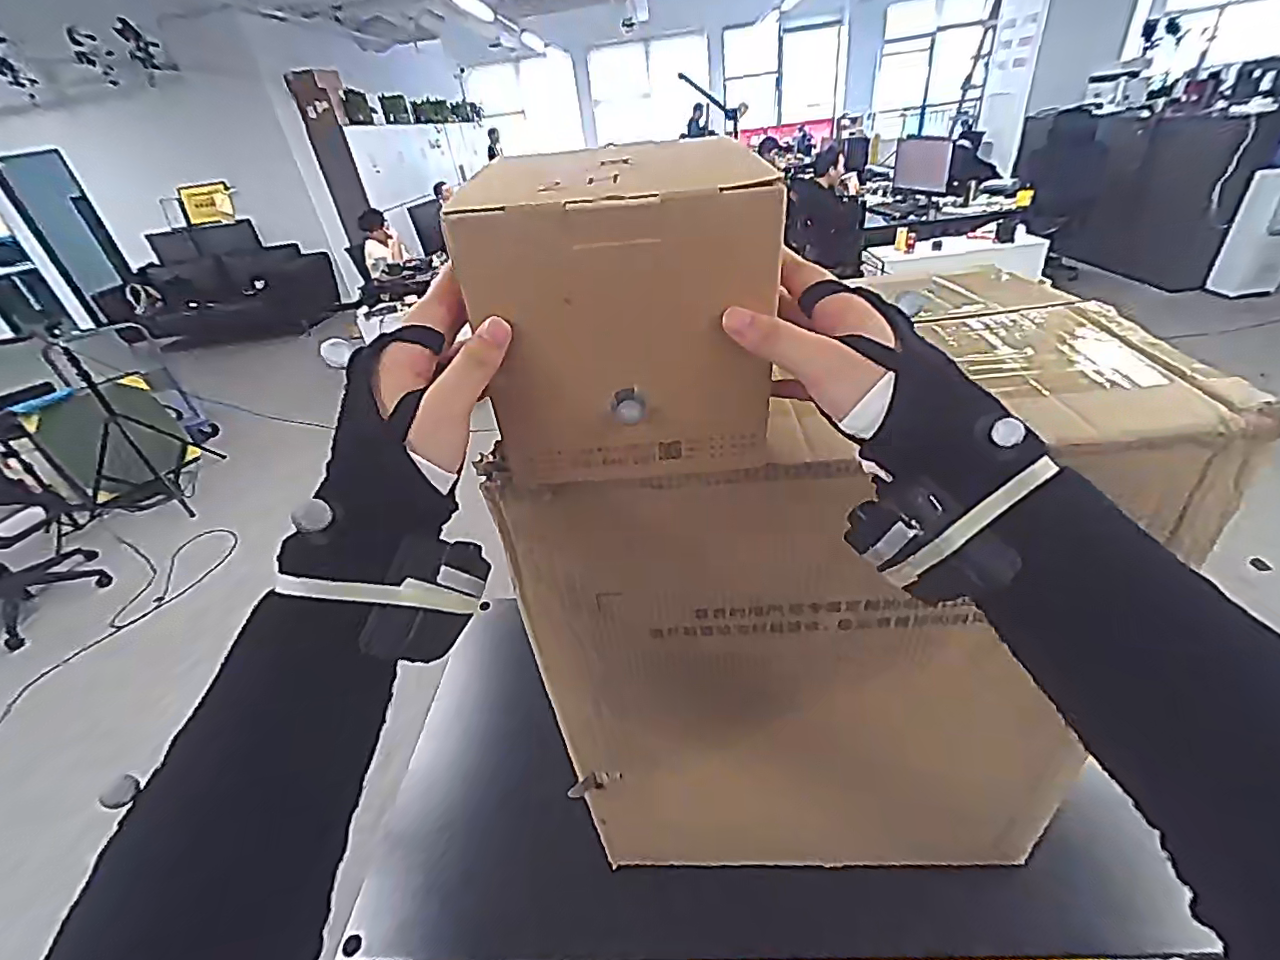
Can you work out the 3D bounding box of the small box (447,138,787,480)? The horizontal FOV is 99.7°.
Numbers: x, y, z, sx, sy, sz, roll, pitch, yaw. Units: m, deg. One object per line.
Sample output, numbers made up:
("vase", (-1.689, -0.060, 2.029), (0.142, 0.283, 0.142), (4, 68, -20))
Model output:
("small box", (-0.008, -0.120, 0.369), (0.168, 0.176, 0.179), (-5, 39, 1))
